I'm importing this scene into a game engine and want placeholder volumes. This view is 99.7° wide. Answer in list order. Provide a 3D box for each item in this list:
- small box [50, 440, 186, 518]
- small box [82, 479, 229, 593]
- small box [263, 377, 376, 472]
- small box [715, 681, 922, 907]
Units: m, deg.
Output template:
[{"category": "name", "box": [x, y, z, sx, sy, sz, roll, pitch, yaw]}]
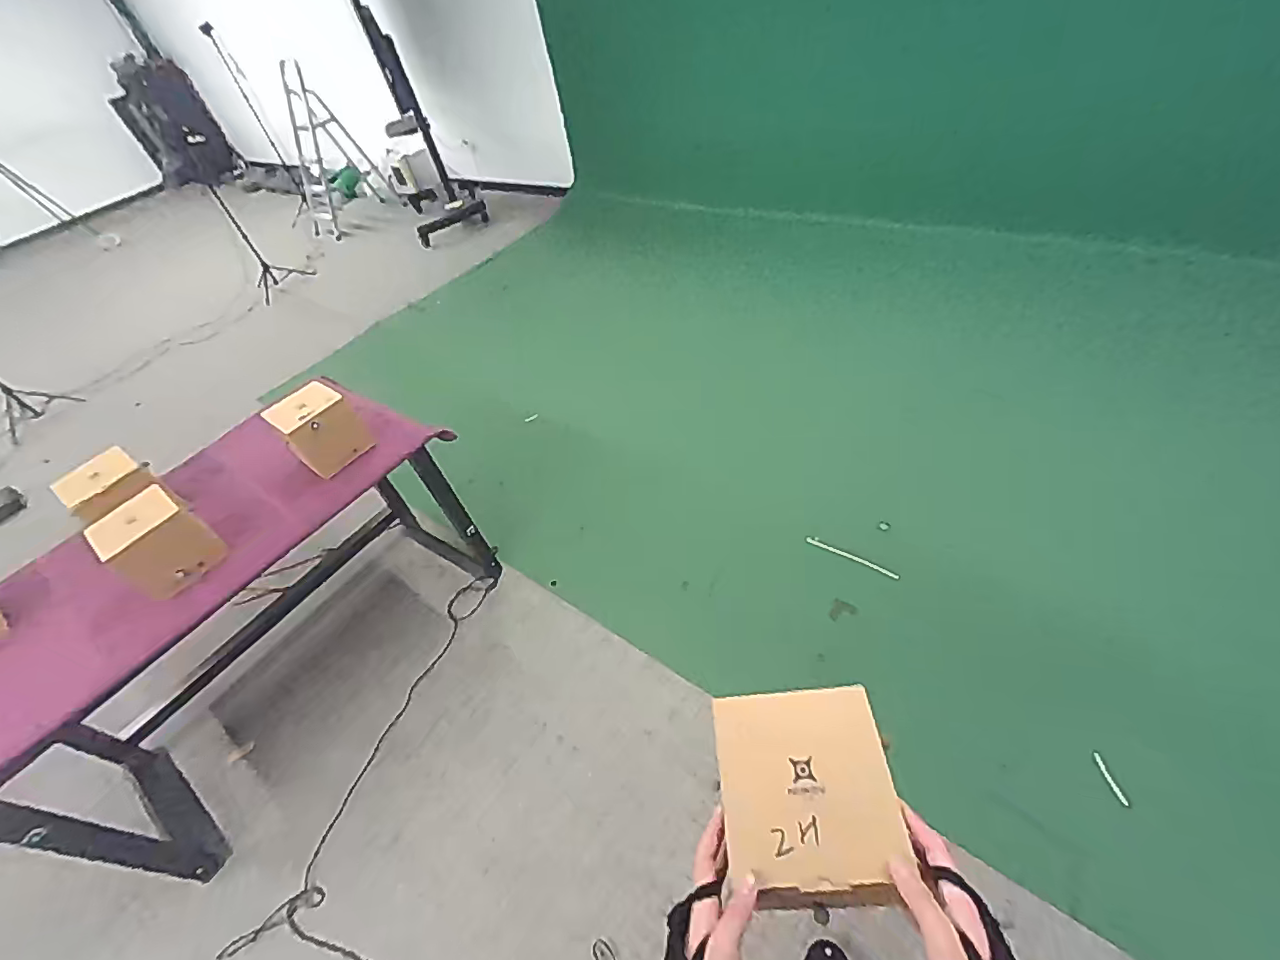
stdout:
[{"category": "small box", "box": [-1.347, 0.029, 1.404, 0.179, 0.176, 0.168, 23, 55, 29]}, {"category": "small box", "box": [-1.113, 0.131, 1.251, 0.179, 0.176, 0.168, 24, 57, 31]}, {"category": "small box", "box": [-0.856, -0.147, 1.453, 0.179, 0.176, 0.168, 25, 58, 34]}, {"category": "small box", "box": [0.176, 0.340, 0.583, 0.168, 0.176, 0.179, -9, 47, 8]}]
